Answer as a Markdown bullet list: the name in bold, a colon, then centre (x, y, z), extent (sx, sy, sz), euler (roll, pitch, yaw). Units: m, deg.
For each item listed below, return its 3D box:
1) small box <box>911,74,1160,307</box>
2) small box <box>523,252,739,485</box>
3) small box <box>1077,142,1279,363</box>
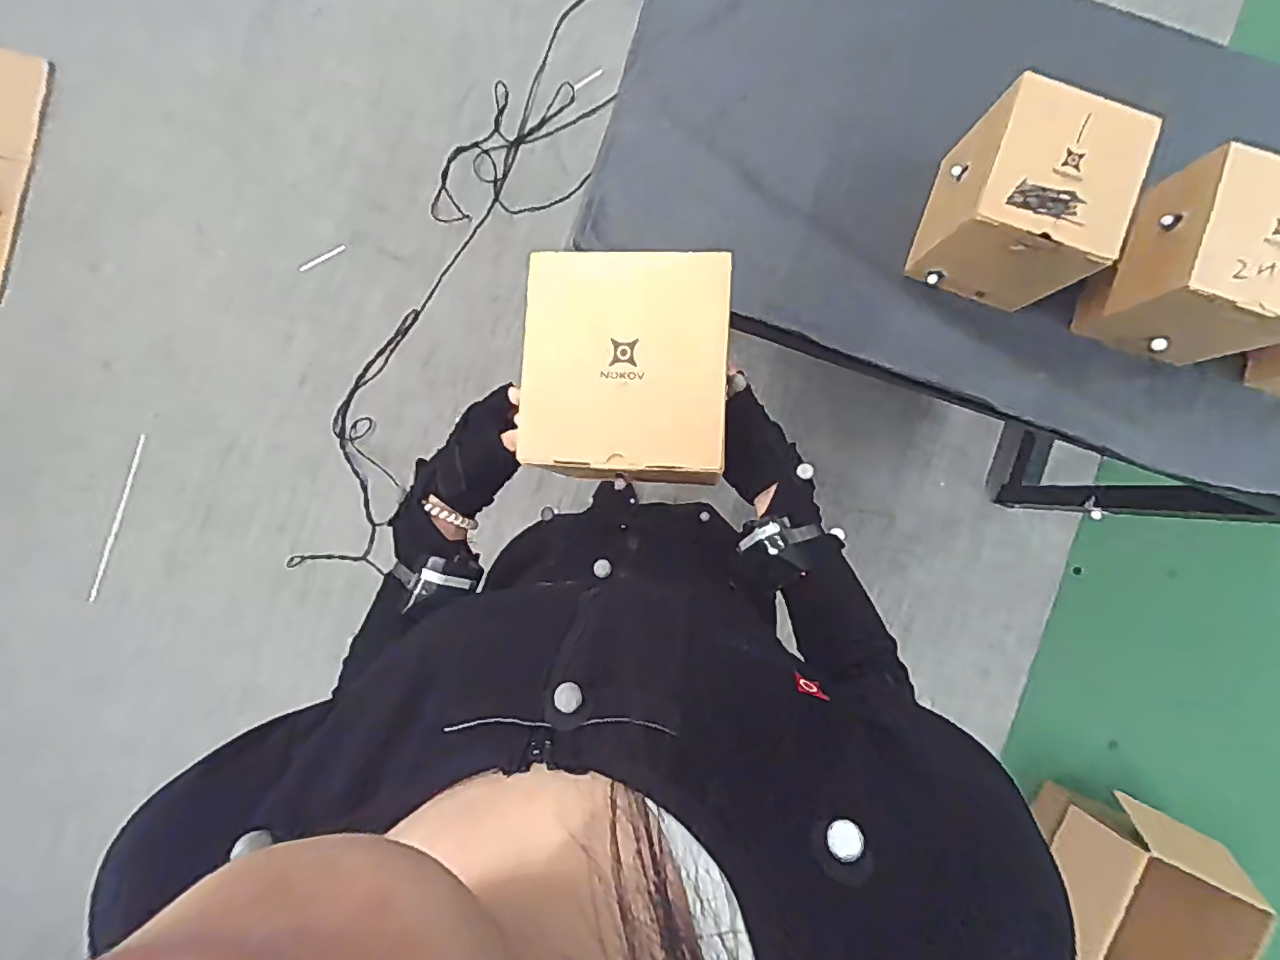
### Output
- **small box**: centre (0.475, -0.344, 0.681), extent (0.168, 0.176, 0.179), euler (20, 88, 0)
- **small box**: centre (-0.001, -0.090, 0.505), extent (0.168, 0.176, 0.179), euler (2, 88, 5)
- **small box**: centre (0.705, -0.269, 0.679), extent (0.168, 0.176, 0.179), euler (18, 89, 1)
